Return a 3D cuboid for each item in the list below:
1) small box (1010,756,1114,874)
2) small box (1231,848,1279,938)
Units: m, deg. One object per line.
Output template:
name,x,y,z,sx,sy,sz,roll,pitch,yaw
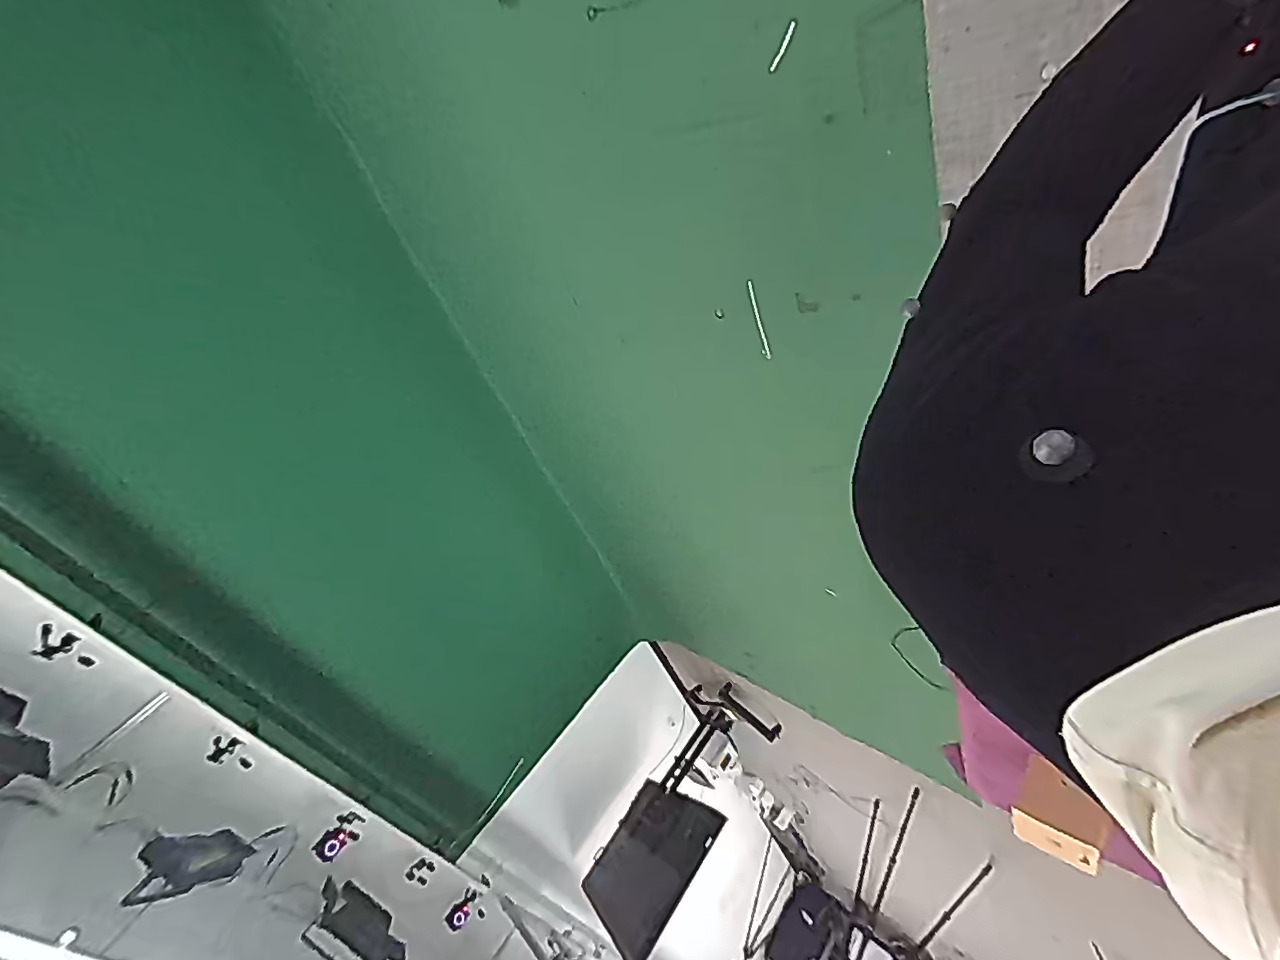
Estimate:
small box,1.079,0.846,1.386,0.179,0.176,0.168,12,140,46
small box,1.345,0.903,1.106,0.168,0.176,0.179,11,139,47
